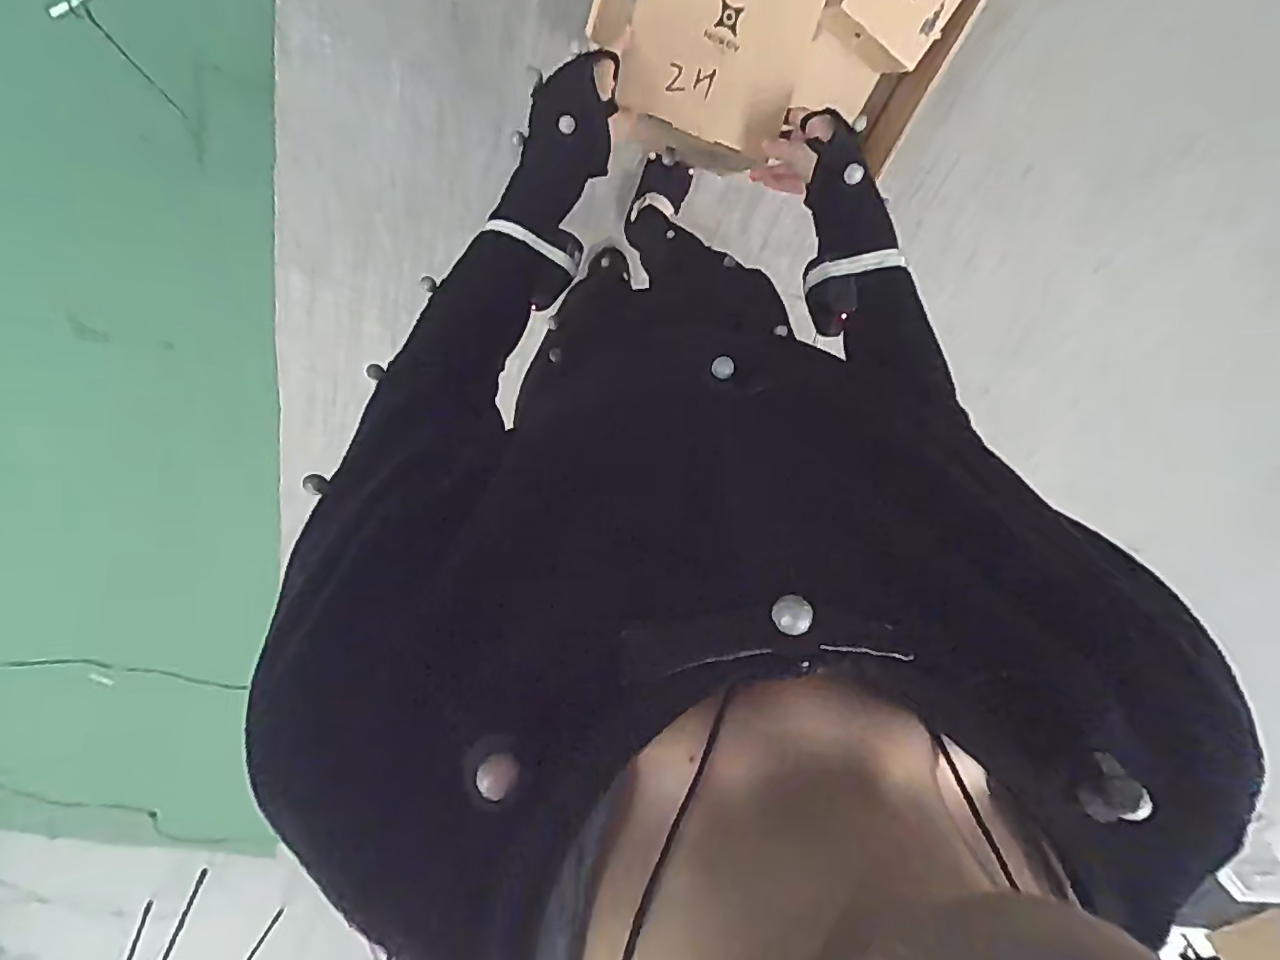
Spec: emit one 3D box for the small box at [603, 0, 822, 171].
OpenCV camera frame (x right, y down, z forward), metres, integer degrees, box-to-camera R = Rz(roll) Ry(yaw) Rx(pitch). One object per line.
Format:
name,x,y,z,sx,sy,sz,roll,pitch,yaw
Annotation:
small box,0.063,-0.448,0.561,0.168,0.176,0.179,15,112,-14

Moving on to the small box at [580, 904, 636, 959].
small box,-0.115,1.624,1.904,0.168,0.176,0.179,12,126,-9

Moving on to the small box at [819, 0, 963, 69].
small box,0.442,-0.851,0.937,0.179,0.176,0.168,27,123,-18
